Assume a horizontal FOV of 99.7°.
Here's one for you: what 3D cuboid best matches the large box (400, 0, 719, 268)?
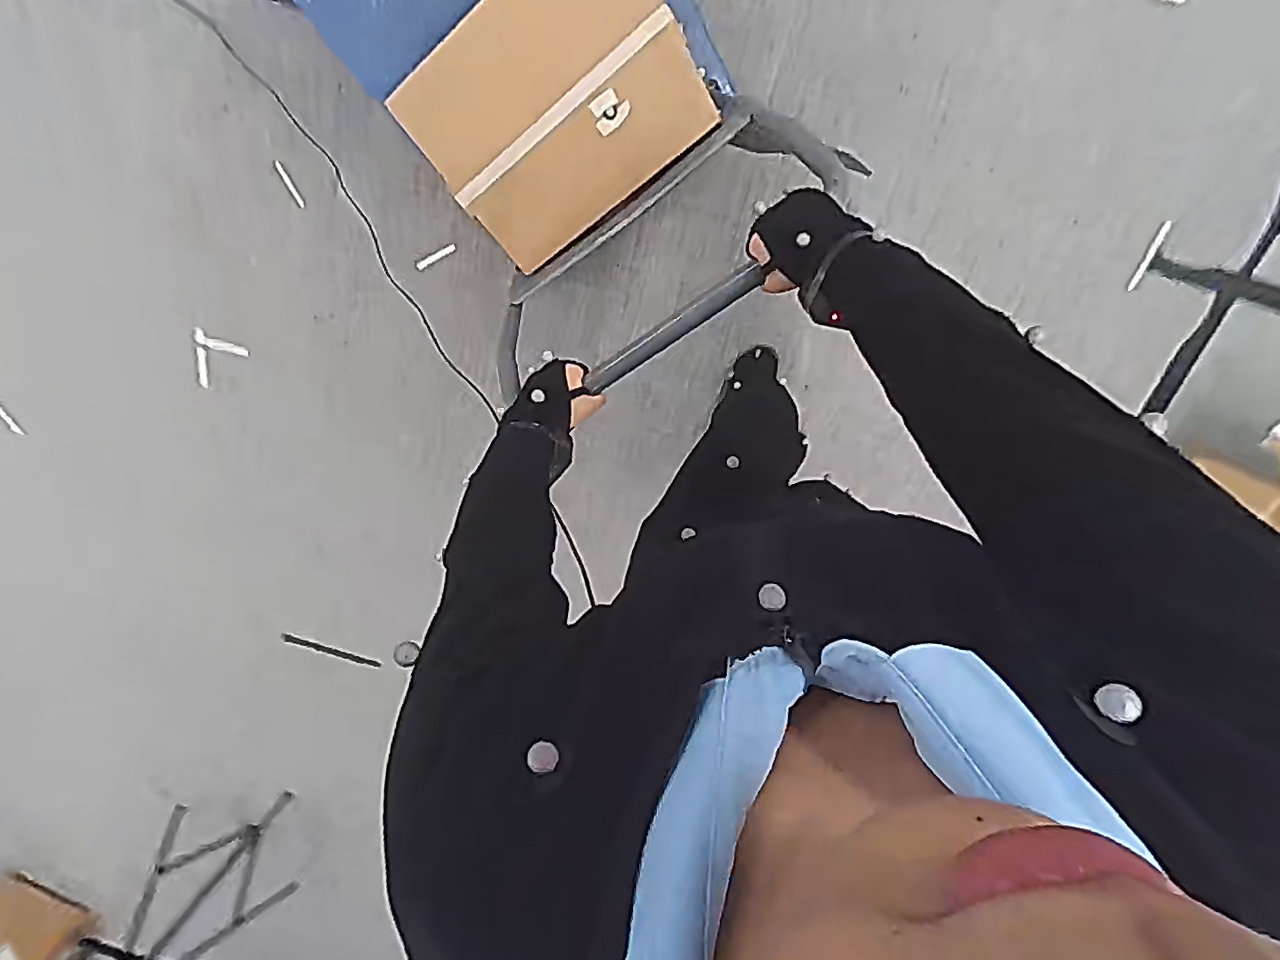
[{"bbox_3d":[-0.132,-0.659,0.950,0.408,0.320,0.320,-32,124,17],"label":"large box"}]
